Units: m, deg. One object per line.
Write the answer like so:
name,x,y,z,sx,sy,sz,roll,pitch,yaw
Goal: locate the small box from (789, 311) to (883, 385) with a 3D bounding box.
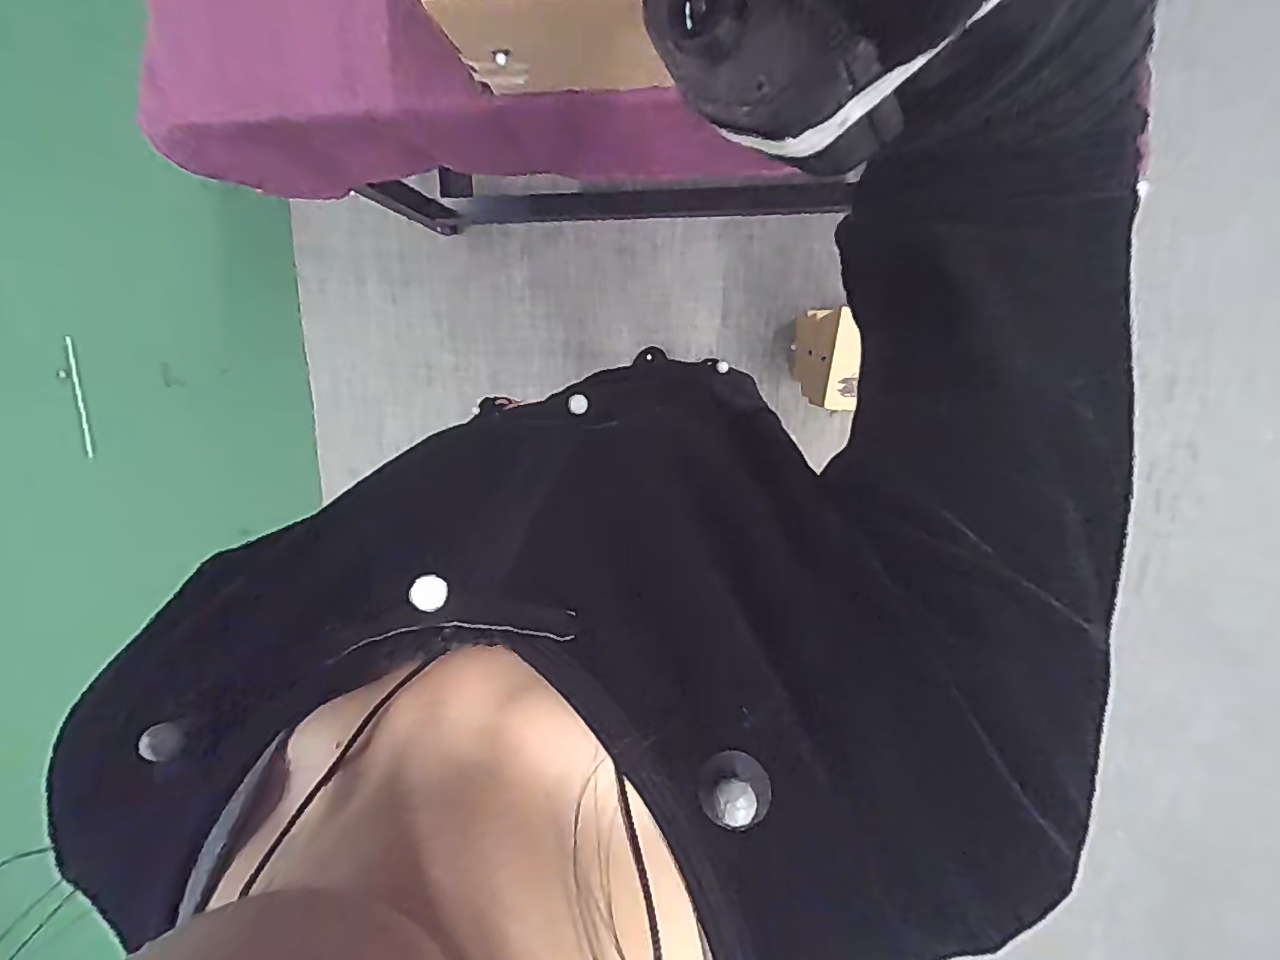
small box,0.467,-0.318,1.309,0.179,0.176,0.168,1,102,8
